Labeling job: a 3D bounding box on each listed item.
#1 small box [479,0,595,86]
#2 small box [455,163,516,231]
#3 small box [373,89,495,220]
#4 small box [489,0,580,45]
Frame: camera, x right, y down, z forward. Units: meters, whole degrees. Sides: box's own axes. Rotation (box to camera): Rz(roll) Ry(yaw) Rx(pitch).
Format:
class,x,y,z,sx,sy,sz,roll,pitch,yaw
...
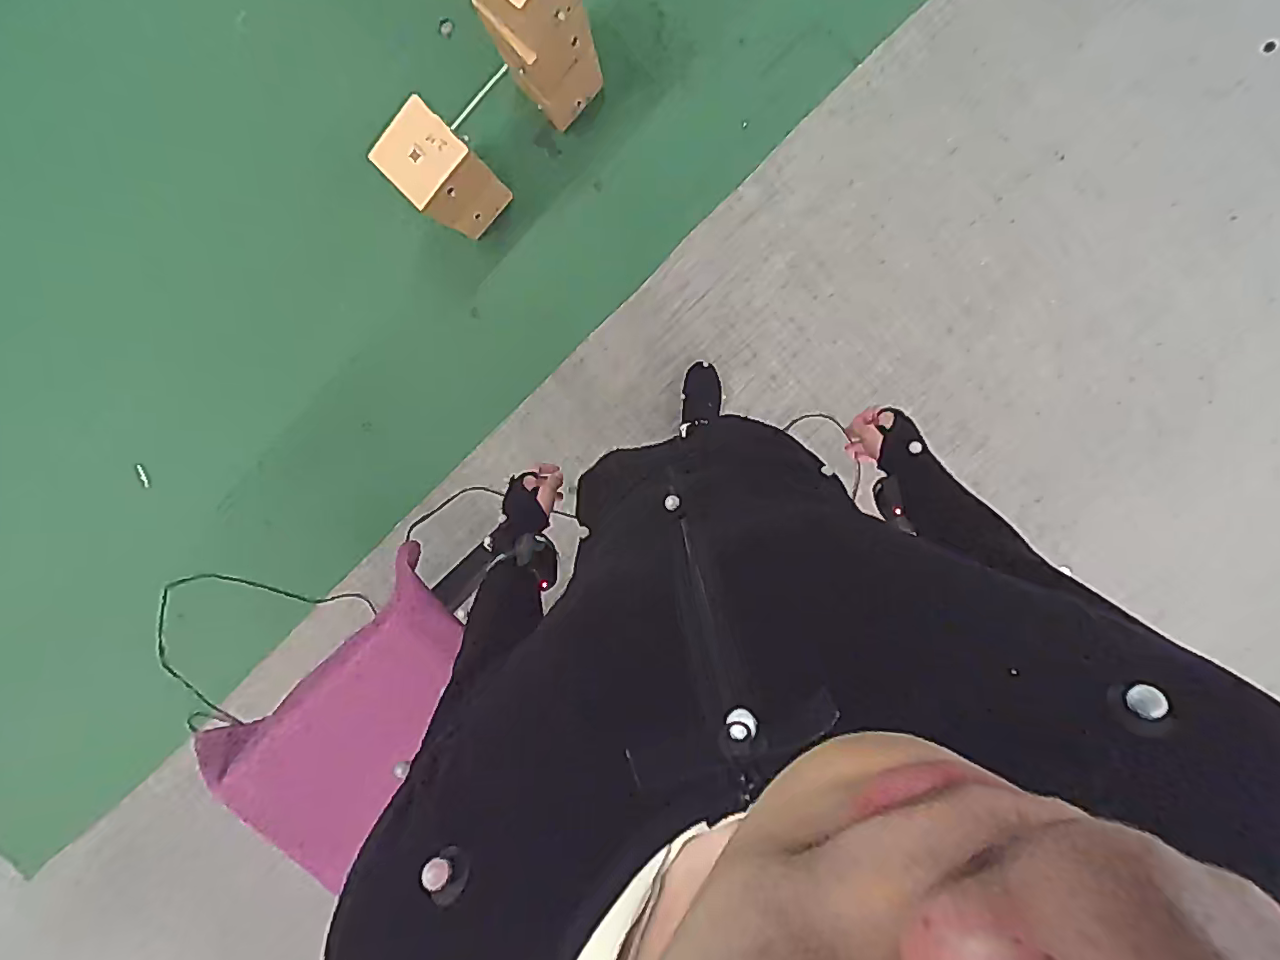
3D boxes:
class,x,y,z,sx,sy,sz,roll,pitch,yaw
small box,-0.218,-1.014,1.184,0.168,0.176,0.179,-43,96,11
small box,-0.458,-0.786,1.425,0.168,0.176,0.179,-44,95,13
small box,-0.471,-0.746,1.266,0.179,0.176,0.168,-44,96,12
small box,-0.218,-0.988,1.022,0.179,0.176,0.168,40,102,-7
